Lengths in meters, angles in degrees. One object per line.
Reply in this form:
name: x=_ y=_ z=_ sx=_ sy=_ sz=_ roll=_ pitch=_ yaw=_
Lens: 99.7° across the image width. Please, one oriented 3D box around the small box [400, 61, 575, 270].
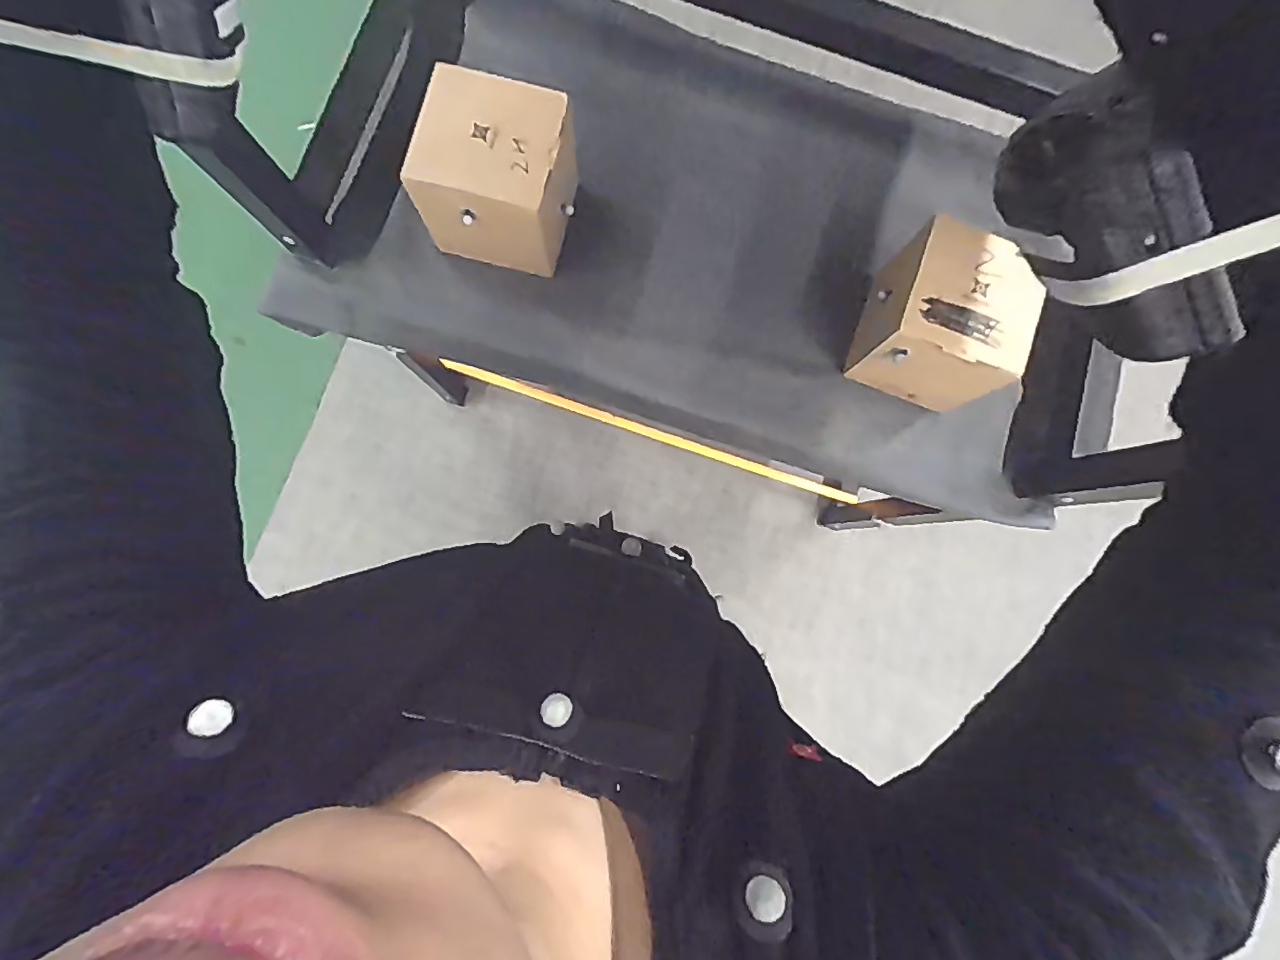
small box: x=-0.196 y=-0.419 z=0.750 sx=0.179 sy=0.176 sz=0.168 roll=14 pitch=83 yaw=-2
